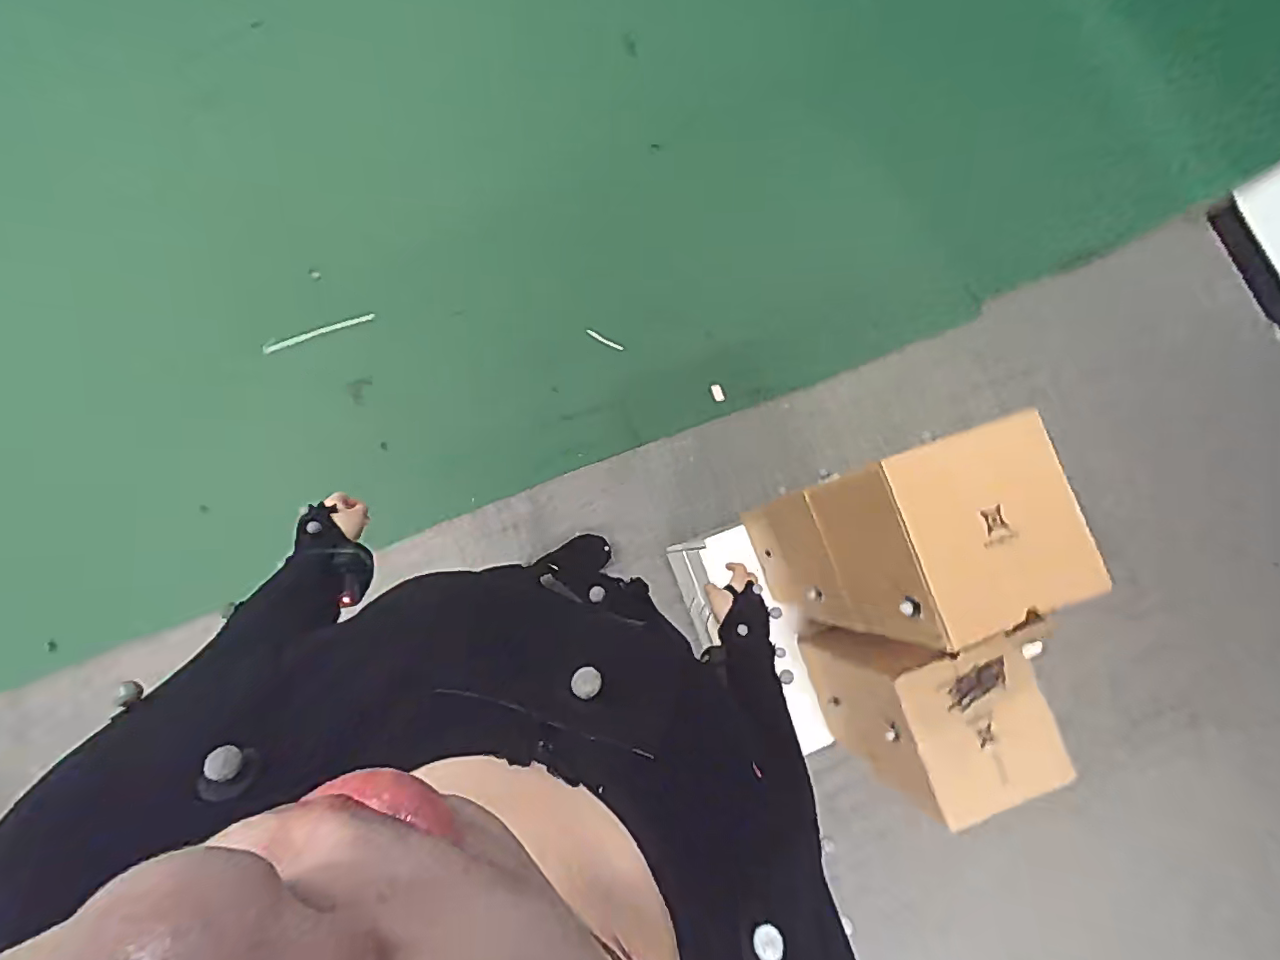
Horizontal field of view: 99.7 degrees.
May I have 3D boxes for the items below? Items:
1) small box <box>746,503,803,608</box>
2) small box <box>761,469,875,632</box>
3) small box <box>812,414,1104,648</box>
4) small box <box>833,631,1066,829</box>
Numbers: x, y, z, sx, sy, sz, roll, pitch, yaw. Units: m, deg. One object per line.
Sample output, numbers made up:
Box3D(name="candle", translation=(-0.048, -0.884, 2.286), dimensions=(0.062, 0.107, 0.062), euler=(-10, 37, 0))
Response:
Box3D(name="small box", translation=(0.286, 0.098, 0.882), dimensions=(0.179, 0.176, 0.168), euler=(-18, 85, -7))
Box3D(name="small box", translation=(0.285, 0.080, 0.721), dimensions=(0.168, 0.176, 0.179), euler=(-20, 84, -8))
Box3D(name="small box", translation=(0.305, 0.053, 0.560), dimensions=(0.168, 0.176, 0.179), euler=(-17, 84, -8))
Box3D(name="small box", translation=(0.376, 0.295, 0.693), dimensions=(0.168, 0.176, 0.179), euler=(-17, 82, -7))
